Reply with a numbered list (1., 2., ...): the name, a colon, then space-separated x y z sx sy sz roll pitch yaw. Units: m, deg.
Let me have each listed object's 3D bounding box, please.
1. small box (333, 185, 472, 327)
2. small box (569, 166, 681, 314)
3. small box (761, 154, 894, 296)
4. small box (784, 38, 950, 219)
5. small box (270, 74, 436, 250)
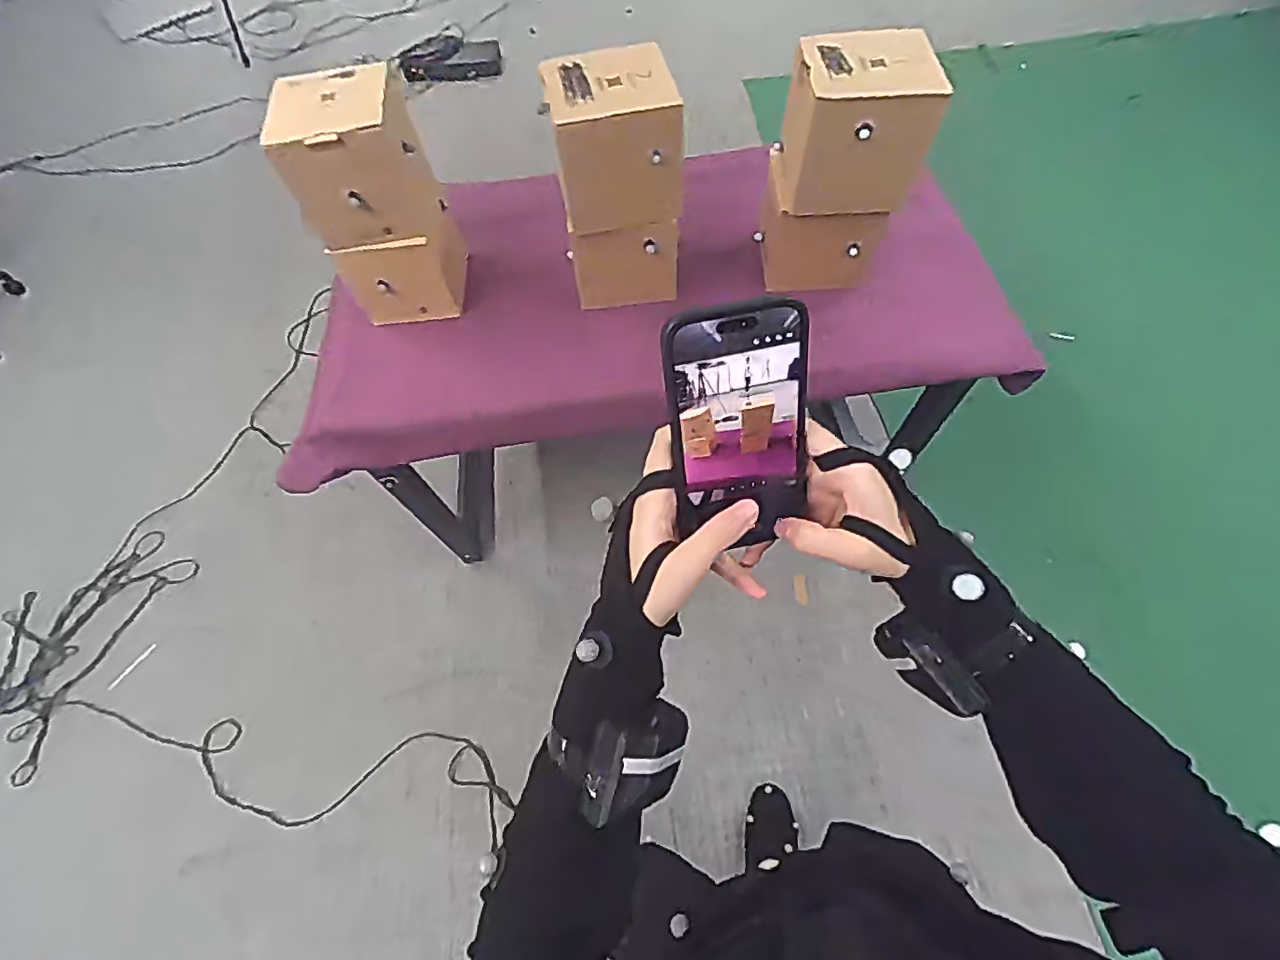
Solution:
1. small box: -0.414 -0.393 0.976 0.168 0.176 0.179 -6 62 1
2. small box: -0.024 -0.419 0.959 0.179 0.176 0.168 -7 62 1
3. small box: 0.315 -0.444 0.948 0.179 0.176 0.168 -1 61 5
4. small box: 0.314 -0.509 0.797 0.179 0.176 0.168 -1 62 3
5. small box: -0.426 -0.478 0.835 0.168 0.176 0.179 -10 62 -2
